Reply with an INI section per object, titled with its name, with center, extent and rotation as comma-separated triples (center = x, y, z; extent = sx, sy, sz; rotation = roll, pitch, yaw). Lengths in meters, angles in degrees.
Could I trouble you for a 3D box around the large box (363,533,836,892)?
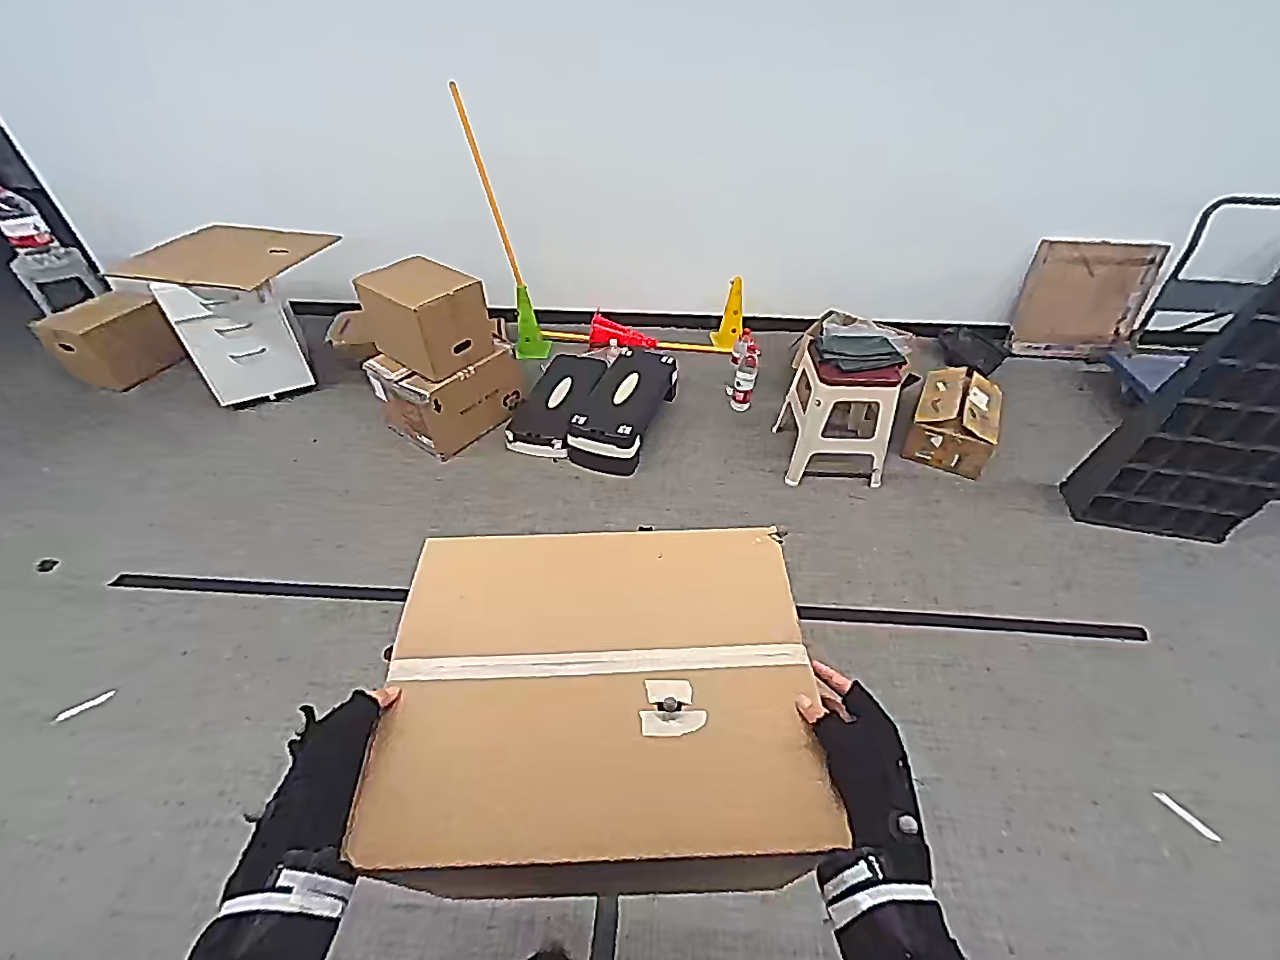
[large box]
center = -0.038, 0.283, 0.656
extent = 0.408, 0.320, 0.320
rotation = -1, 49, -1
